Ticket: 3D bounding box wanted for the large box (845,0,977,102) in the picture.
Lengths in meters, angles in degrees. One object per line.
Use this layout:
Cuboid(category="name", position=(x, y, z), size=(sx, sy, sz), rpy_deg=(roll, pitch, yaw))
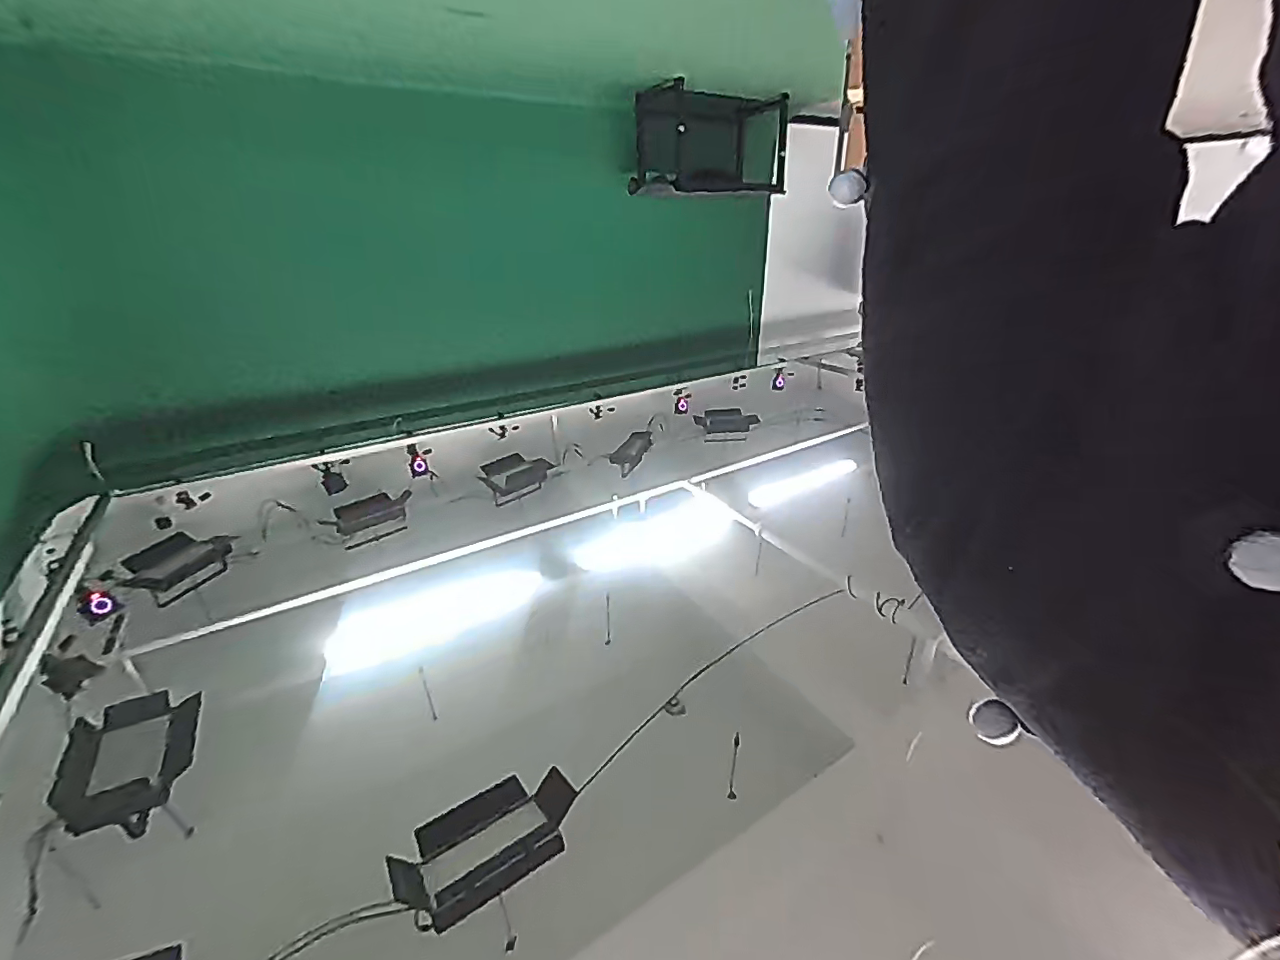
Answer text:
Cuboid(category="large box", position=(1.032, -1.669, 2.080), size=(0.408, 0.320, 0.320), rpy_deg=(10, -151, 19))
